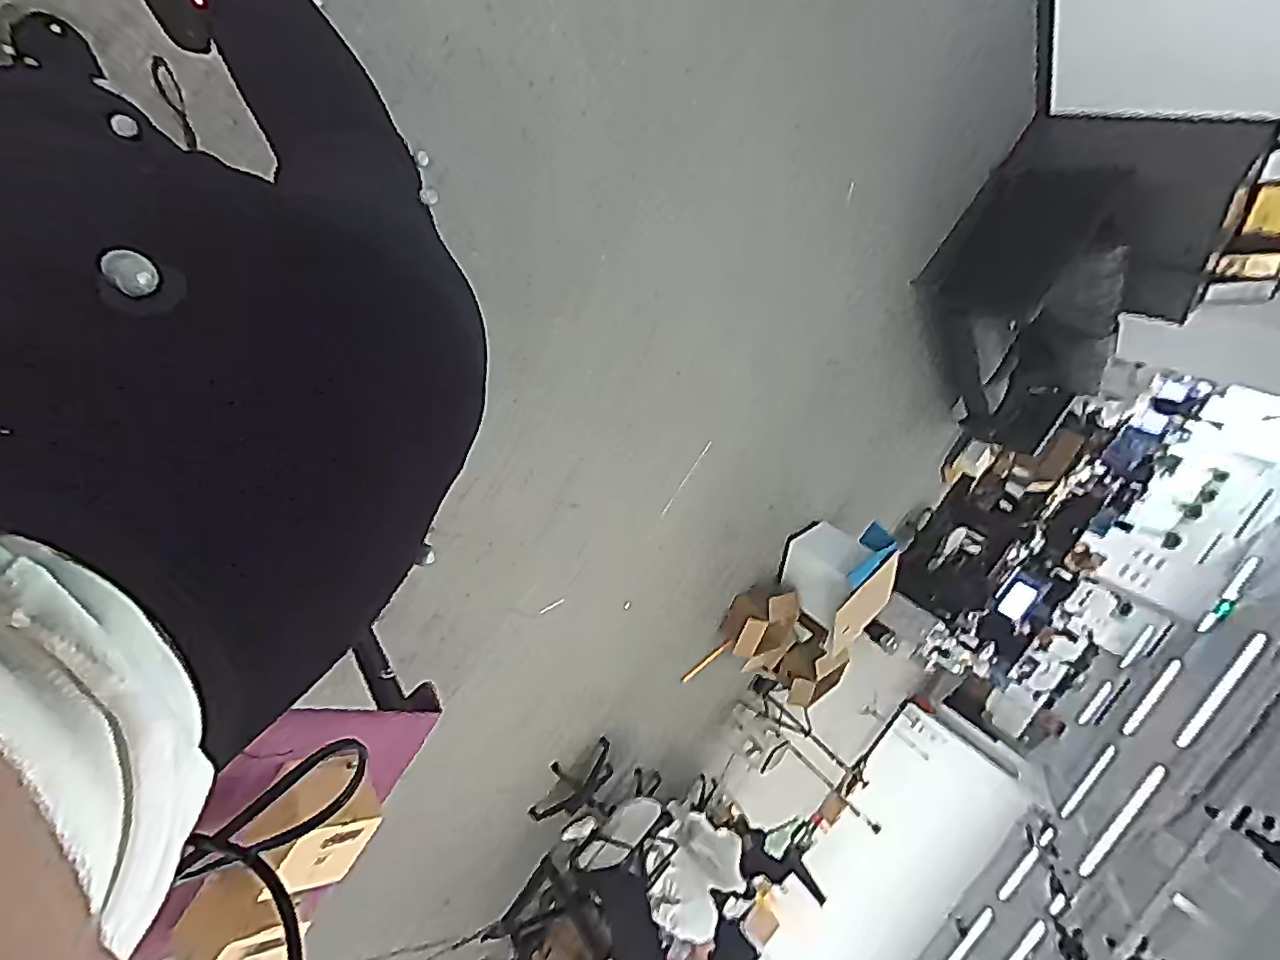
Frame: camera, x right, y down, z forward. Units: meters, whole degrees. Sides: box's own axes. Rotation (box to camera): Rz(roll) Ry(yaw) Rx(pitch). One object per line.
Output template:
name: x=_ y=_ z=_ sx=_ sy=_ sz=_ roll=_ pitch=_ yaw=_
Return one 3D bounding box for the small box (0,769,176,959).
small box: x=-0.875 y=0.590 z=0.850 sx=0.179 sy=0.176 sz=0.168 roll=-54 pitch=141 yaw=3

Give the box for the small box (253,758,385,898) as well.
small box: x=-0.674 y=0.708 z=1.128 sx=0.179 sy=0.176 sz=0.168 roll=-55 pitch=140 yaw=5
